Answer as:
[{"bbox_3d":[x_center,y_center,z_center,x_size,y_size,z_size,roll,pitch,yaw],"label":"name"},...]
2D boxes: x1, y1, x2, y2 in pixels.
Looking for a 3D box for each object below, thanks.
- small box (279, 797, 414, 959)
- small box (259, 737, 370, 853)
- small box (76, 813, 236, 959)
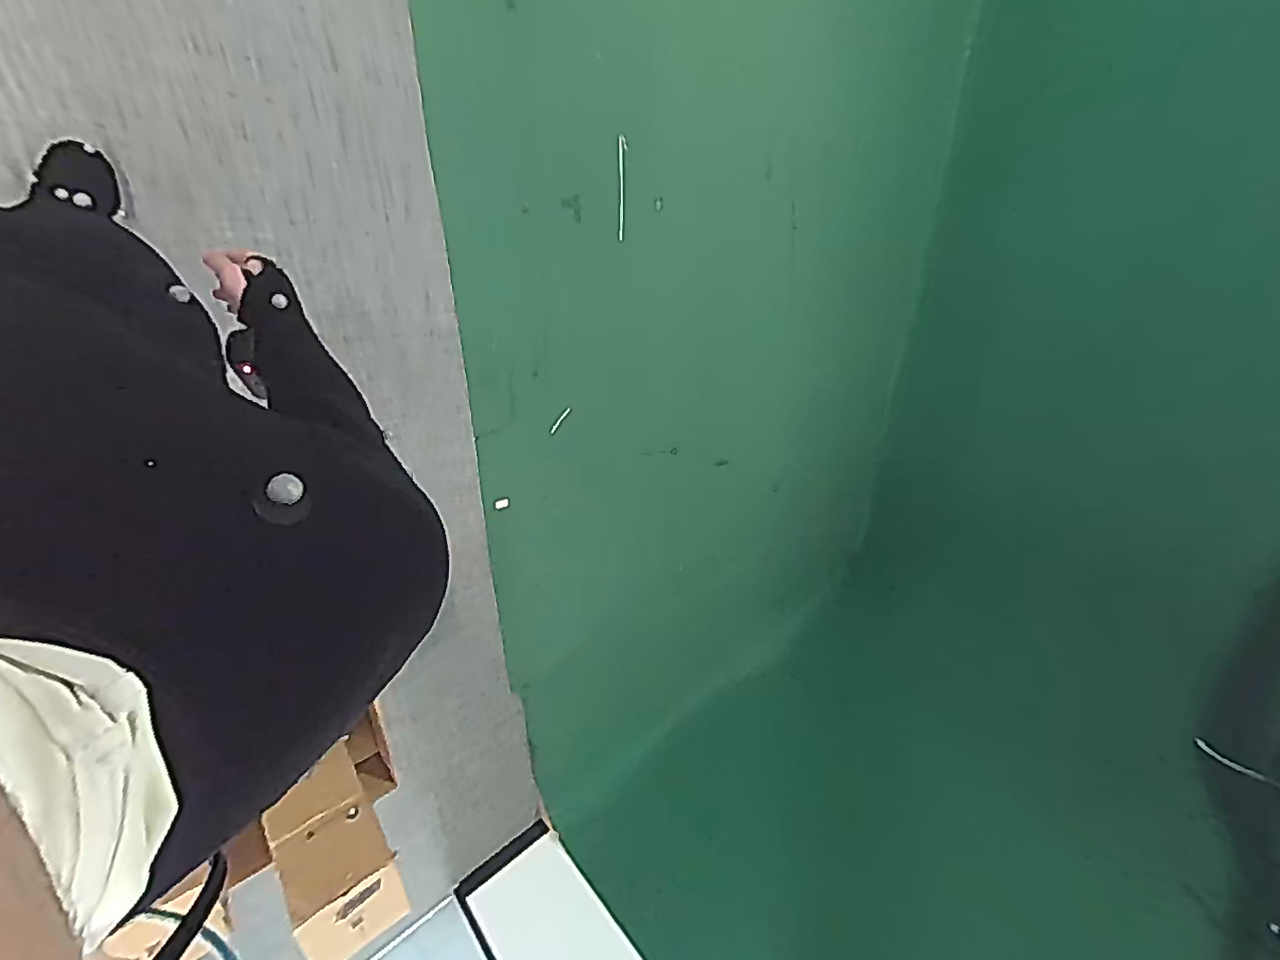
[{"bbox_3d":[-0.554,0.745,1.022,0.168,0.176,0.179,-22,125,-36],"label":"small box"},{"bbox_3d":[-0.665,0.683,1.127,0.168,0.176,0.179,-20,124,-37],"label":"small box"},{"bbox_3d":[-0.864,0.755,0.972,0.179,0.176,0.168,-18,121,-37],"label":"small box"}]
